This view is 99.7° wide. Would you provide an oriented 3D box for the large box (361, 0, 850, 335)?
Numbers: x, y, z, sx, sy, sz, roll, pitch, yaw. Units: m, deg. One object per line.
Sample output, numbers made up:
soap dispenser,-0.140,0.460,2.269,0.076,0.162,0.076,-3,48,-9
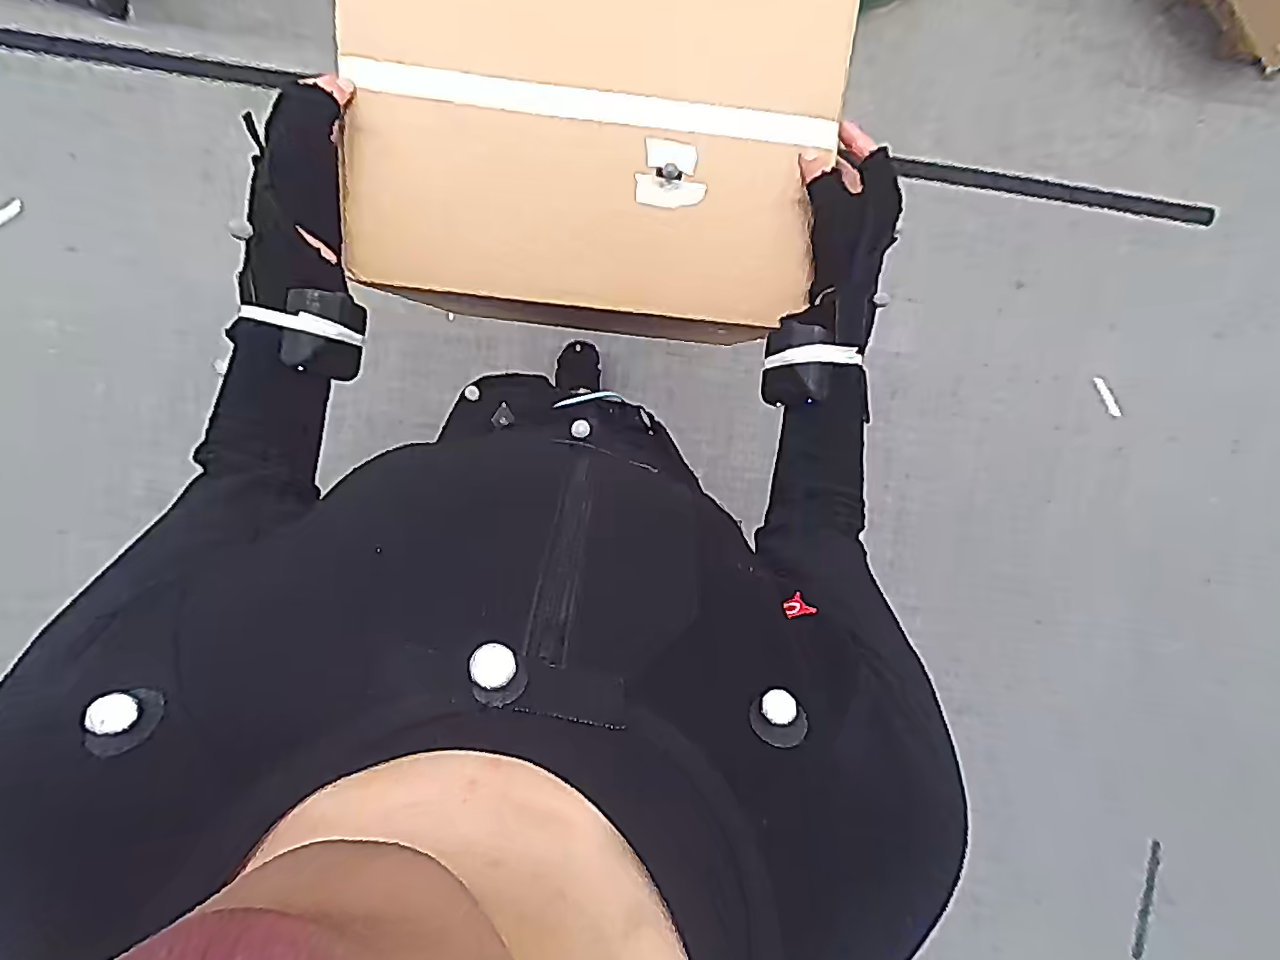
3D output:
large box,-0.041,-0.345,0.602,0.408,0.320,0.320,5,102,-4
